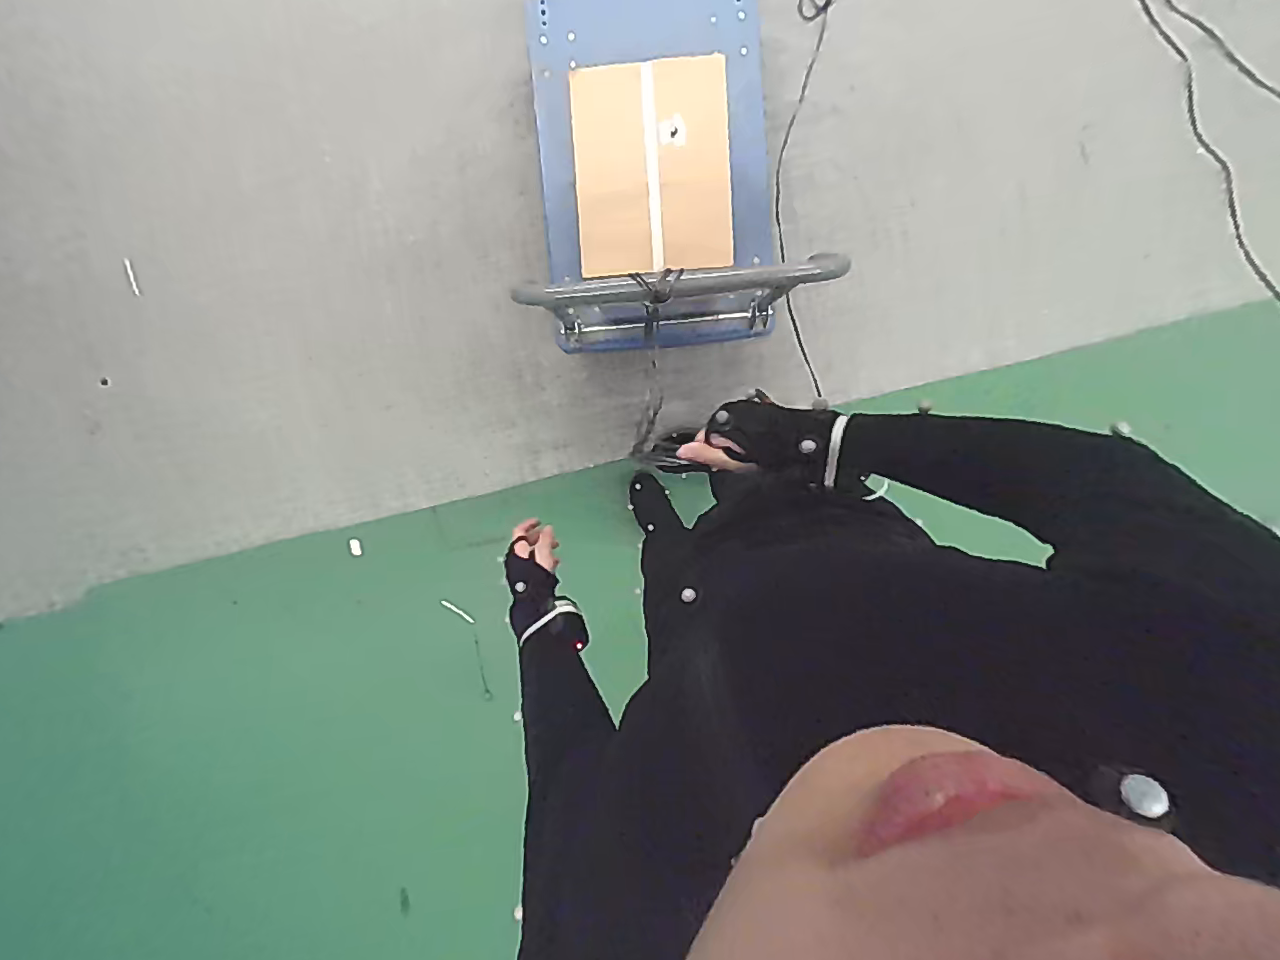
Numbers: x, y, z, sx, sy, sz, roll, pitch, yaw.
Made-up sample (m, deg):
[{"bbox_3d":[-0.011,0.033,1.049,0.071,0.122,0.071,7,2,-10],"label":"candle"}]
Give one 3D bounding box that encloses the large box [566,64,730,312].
[{"bbox_3d":[0.024,-0.634,1.247,0.320,0.320,0.408,-4,95,2],"label":"large box"}]
